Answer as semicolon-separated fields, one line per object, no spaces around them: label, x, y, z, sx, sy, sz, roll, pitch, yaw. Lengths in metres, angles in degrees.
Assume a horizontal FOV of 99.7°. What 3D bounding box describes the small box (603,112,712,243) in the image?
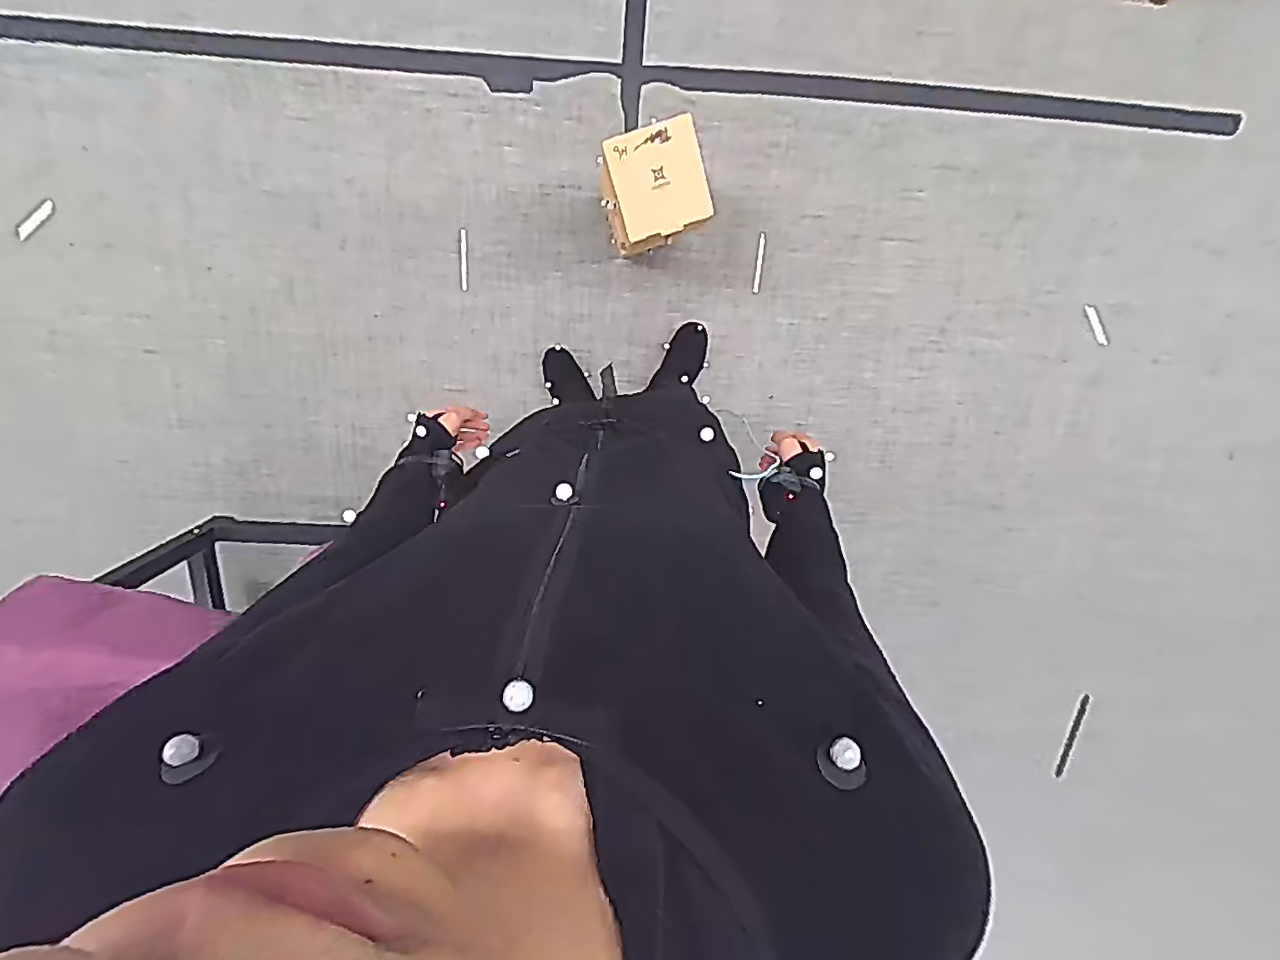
small box;0.032;-0.572;1.051;0.168;0.176;0.179;-16;109;3
